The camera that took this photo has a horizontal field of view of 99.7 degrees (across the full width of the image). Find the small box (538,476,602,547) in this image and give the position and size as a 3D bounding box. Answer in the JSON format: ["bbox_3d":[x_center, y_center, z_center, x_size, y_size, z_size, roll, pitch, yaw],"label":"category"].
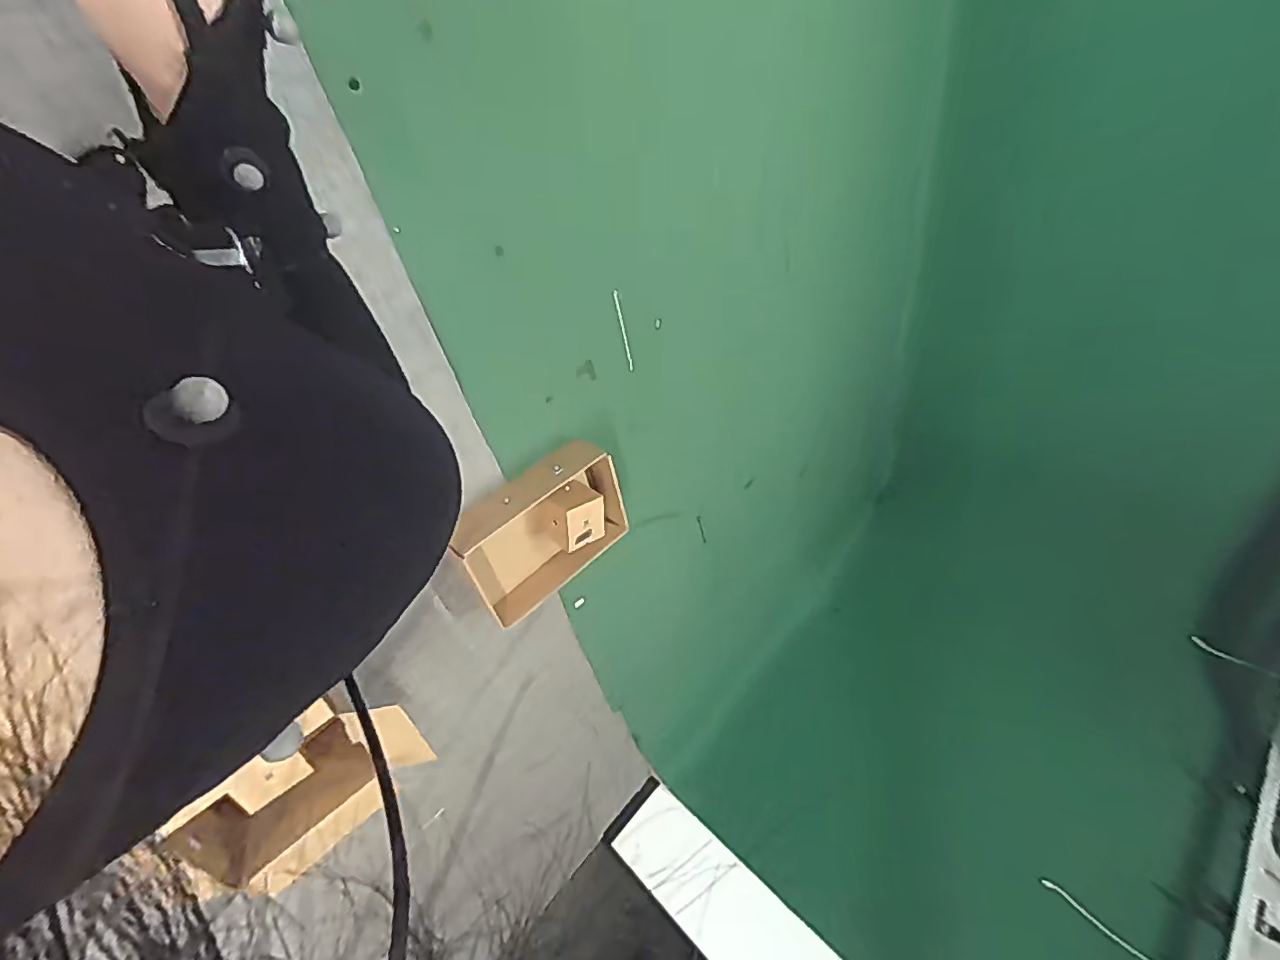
[{"bbox_3d":[-0.255,0.110,1.969,0.168,0.176,0.179,-24,128,-37],"label":"small box"}]
